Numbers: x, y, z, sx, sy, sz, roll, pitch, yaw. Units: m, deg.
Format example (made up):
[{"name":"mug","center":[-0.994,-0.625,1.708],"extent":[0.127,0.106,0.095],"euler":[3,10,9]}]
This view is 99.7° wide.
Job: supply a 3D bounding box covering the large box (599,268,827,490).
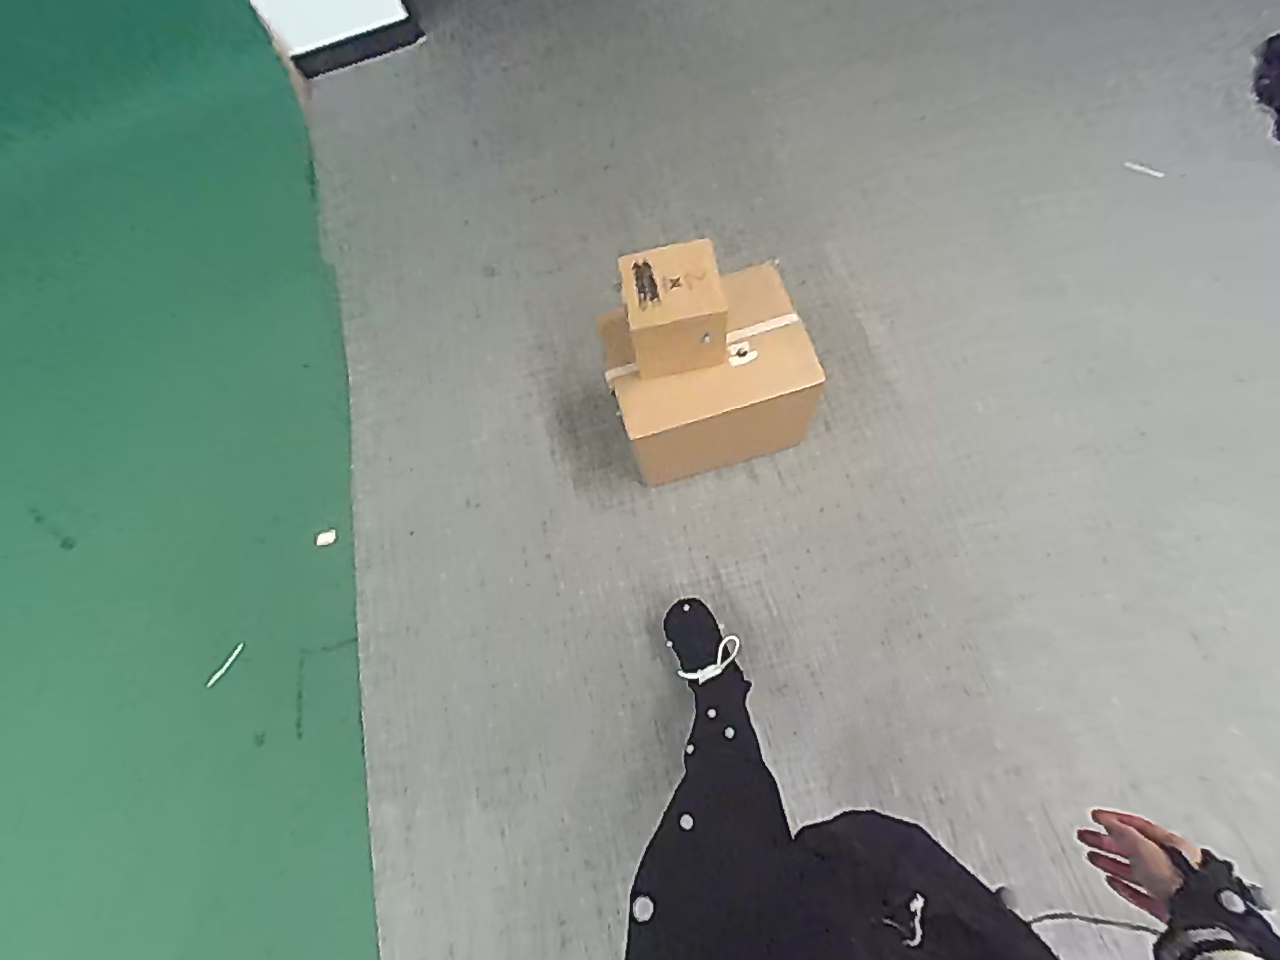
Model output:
[{"name":"large box","center":[0.153,-0.213,1.250],"extent":[0.408,0.320,0.320],"euler":[-16,70,0]}]
